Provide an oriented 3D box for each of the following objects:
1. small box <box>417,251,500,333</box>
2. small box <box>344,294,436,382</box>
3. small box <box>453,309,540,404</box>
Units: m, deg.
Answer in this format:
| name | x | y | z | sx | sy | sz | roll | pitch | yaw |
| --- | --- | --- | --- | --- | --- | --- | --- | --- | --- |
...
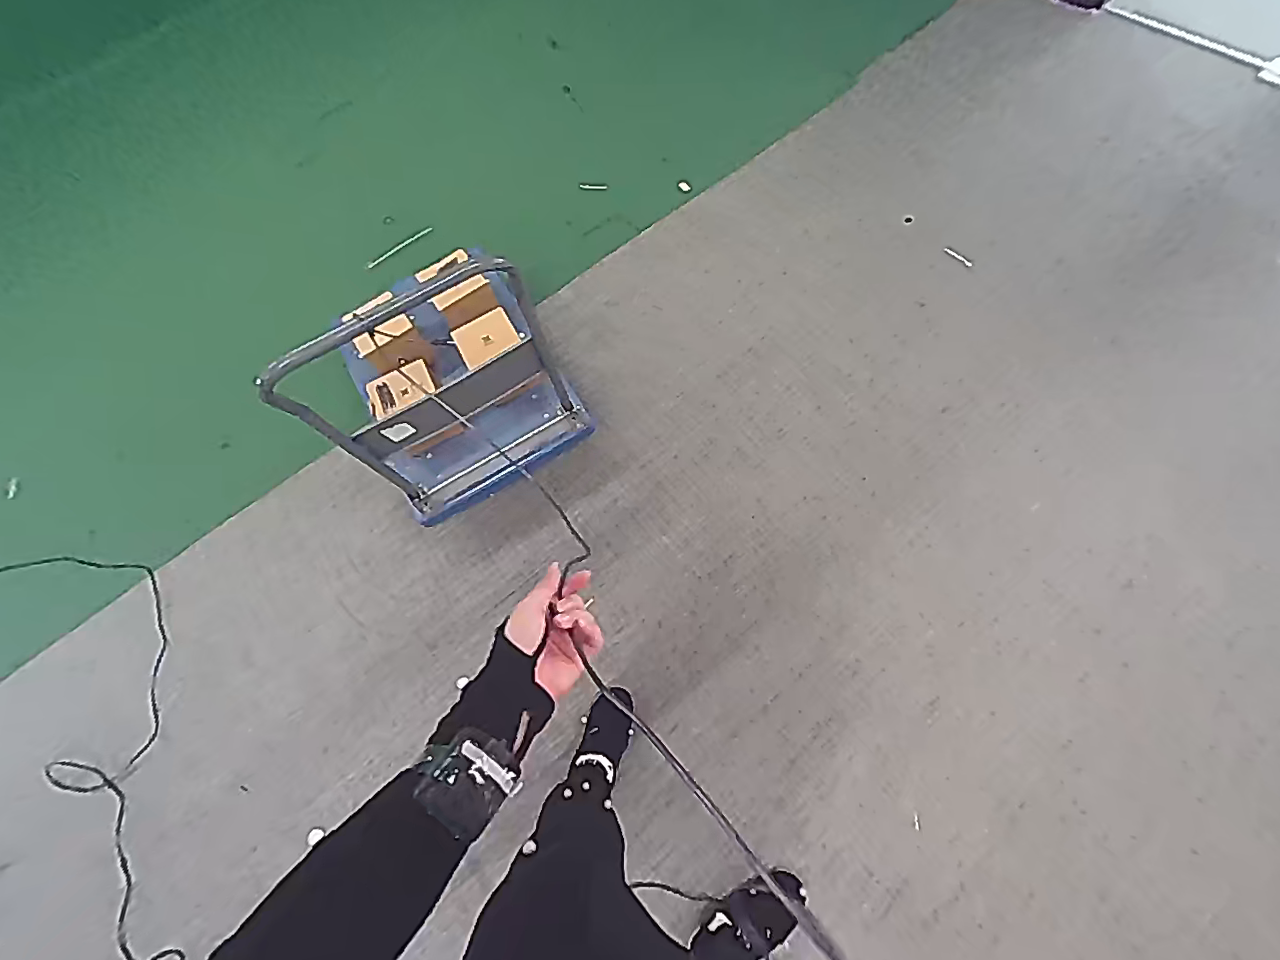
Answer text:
| name | x | y | z | sx | sy | sz | roll | pitch | yaw |
| --- | --- | --- | --- | --- | --- | --- | --- | --- | --- |
| small box | -0.555 | -0.566 | 1.690 | 0.168 | 0.176 | 0.179 | -35 | 69 | -7 |
| small box | -0.759 | -0.424 | 1.657 | 0.168 | 0.176 | 0.179 | -34 | 68 | -8 |
| small box | -0.416 | -0.357 | 1.588 | 0.168 | 0.176 | 0.179 | -30 | 68 | -6 |
